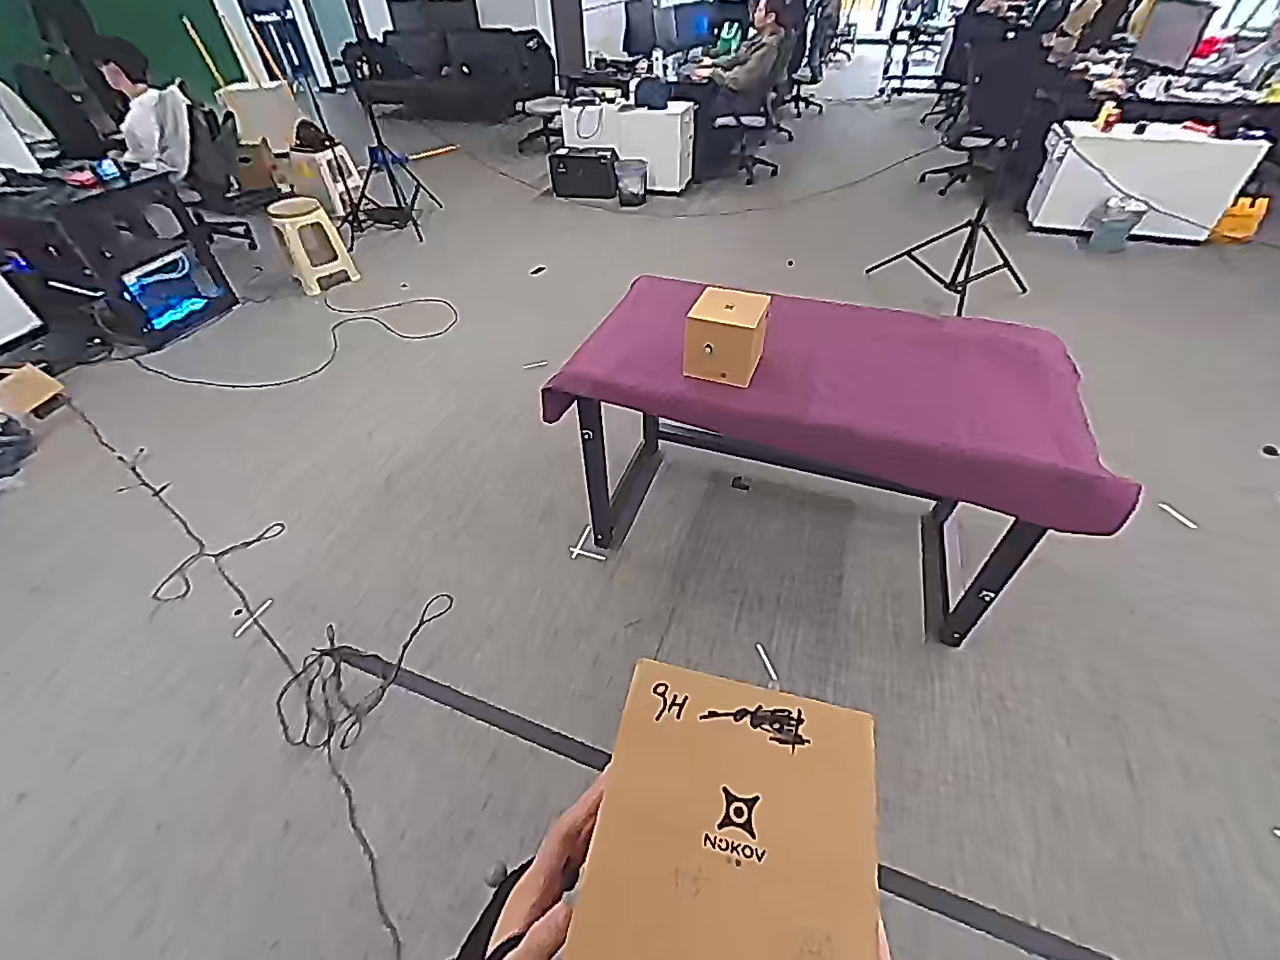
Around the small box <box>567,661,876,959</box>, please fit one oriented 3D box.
[{"bbox_3d":[0.059,0.261,0.393,0.168,0.176,0.179,12,53,8],"label":"small box"}]

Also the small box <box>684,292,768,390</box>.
[{"bbox_3d":[0.213,-0.349,1.360,0.168,0.176,0.179,15,46,16],"label":"small box"}]
